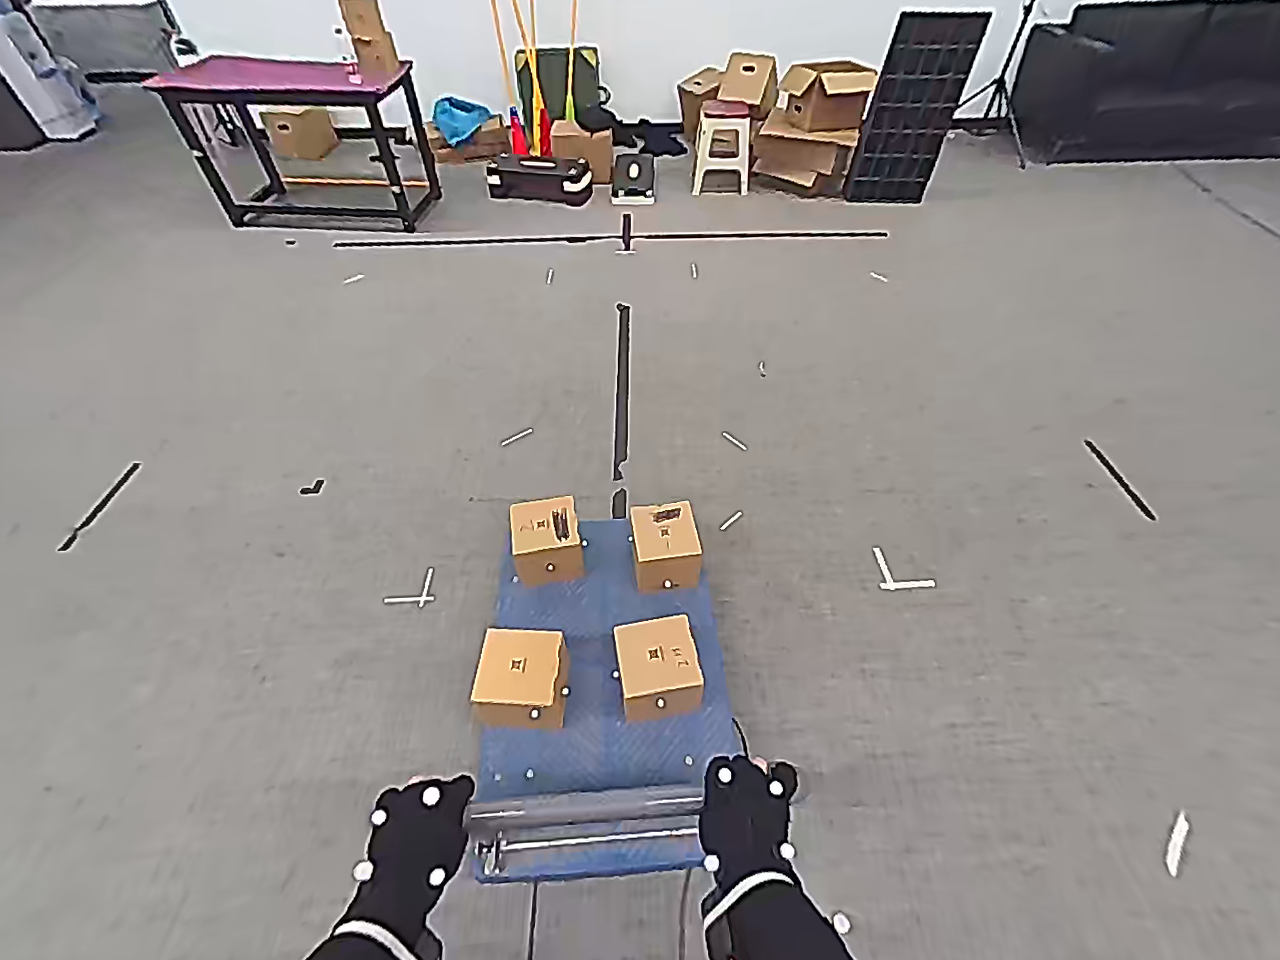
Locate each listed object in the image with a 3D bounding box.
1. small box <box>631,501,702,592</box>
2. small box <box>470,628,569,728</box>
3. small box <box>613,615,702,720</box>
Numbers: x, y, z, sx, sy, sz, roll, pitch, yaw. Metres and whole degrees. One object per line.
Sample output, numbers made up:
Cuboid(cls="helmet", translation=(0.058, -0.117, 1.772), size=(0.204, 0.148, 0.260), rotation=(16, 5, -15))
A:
Cuboid(cls="small box", translation=(0.066, 0.182, 1.468), size=(0.168, 0.176, 0.179), rotation=(-7, 50, -5))
Cuboid(cls="small box", translation=(-0.267, 0.455, 1.236), size=(0.179, 0.176, 0.168), rotation=(2, 49, 1))
Cuboid(cls="small box", translation=(0.038, 0.435, 1.247), size=(0.179, 0.176, 0.168), rotation=(-8, 49, -6))
